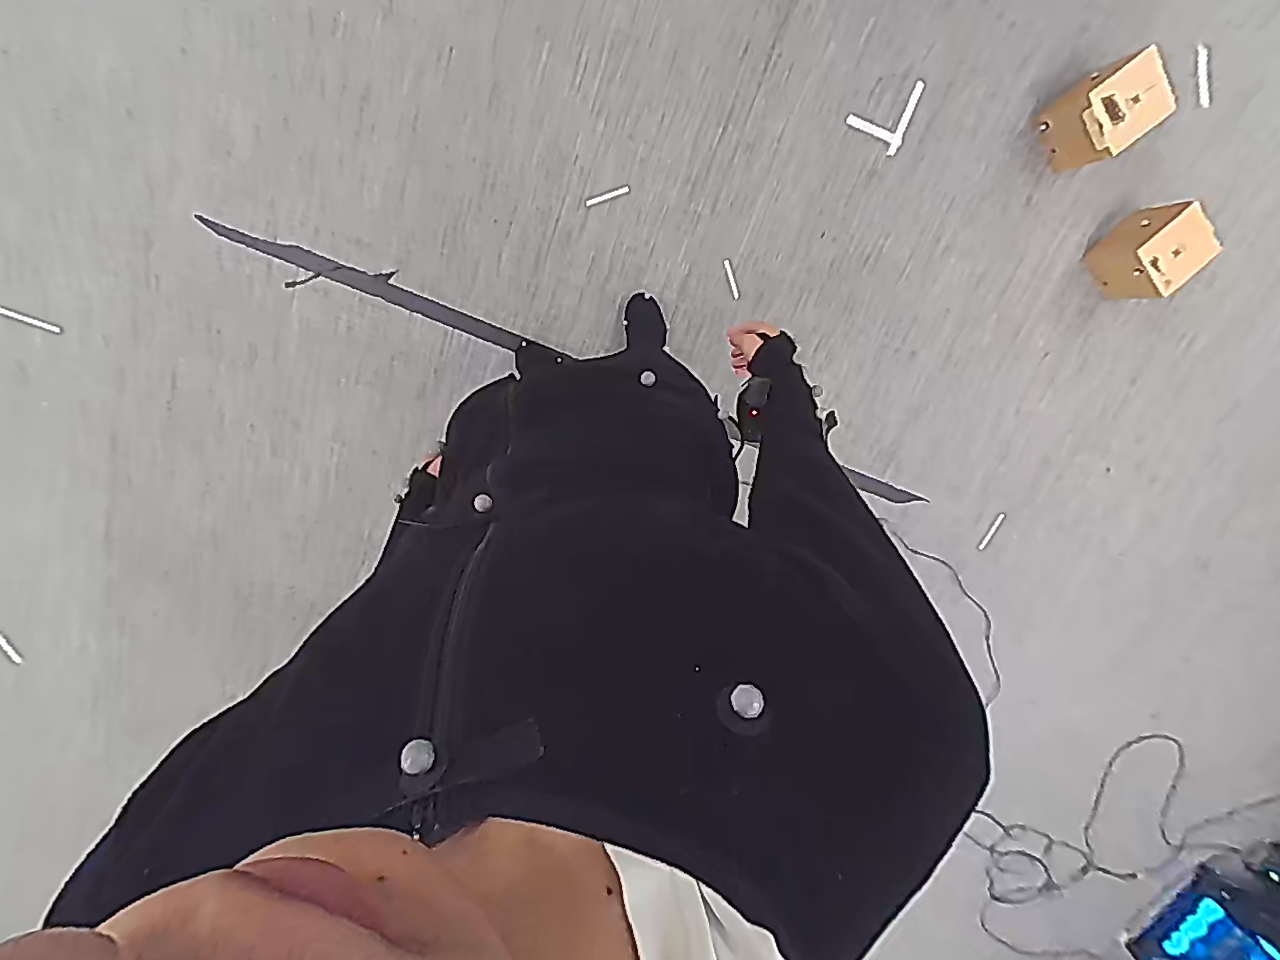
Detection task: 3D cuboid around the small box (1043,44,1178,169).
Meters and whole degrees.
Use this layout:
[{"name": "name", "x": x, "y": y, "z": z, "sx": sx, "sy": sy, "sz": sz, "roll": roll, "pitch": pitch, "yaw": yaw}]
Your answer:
[{"name": "small box", "x": 1.154, "y": -0.914, "z": 1.346, "sx": 0.179, "sy": 0.176, "sz": 0.168, "roll": -37, "pitch": 107, "yaw": 8}]

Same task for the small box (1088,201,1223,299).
[{"name": "small box", "x": 1.384, "y": -0.613, "z": 1.462, "sx": 0.179, "sy": 0.176, "sz": 0.168, "roll": -43, "pitch": 106, "yaw": 10}]
